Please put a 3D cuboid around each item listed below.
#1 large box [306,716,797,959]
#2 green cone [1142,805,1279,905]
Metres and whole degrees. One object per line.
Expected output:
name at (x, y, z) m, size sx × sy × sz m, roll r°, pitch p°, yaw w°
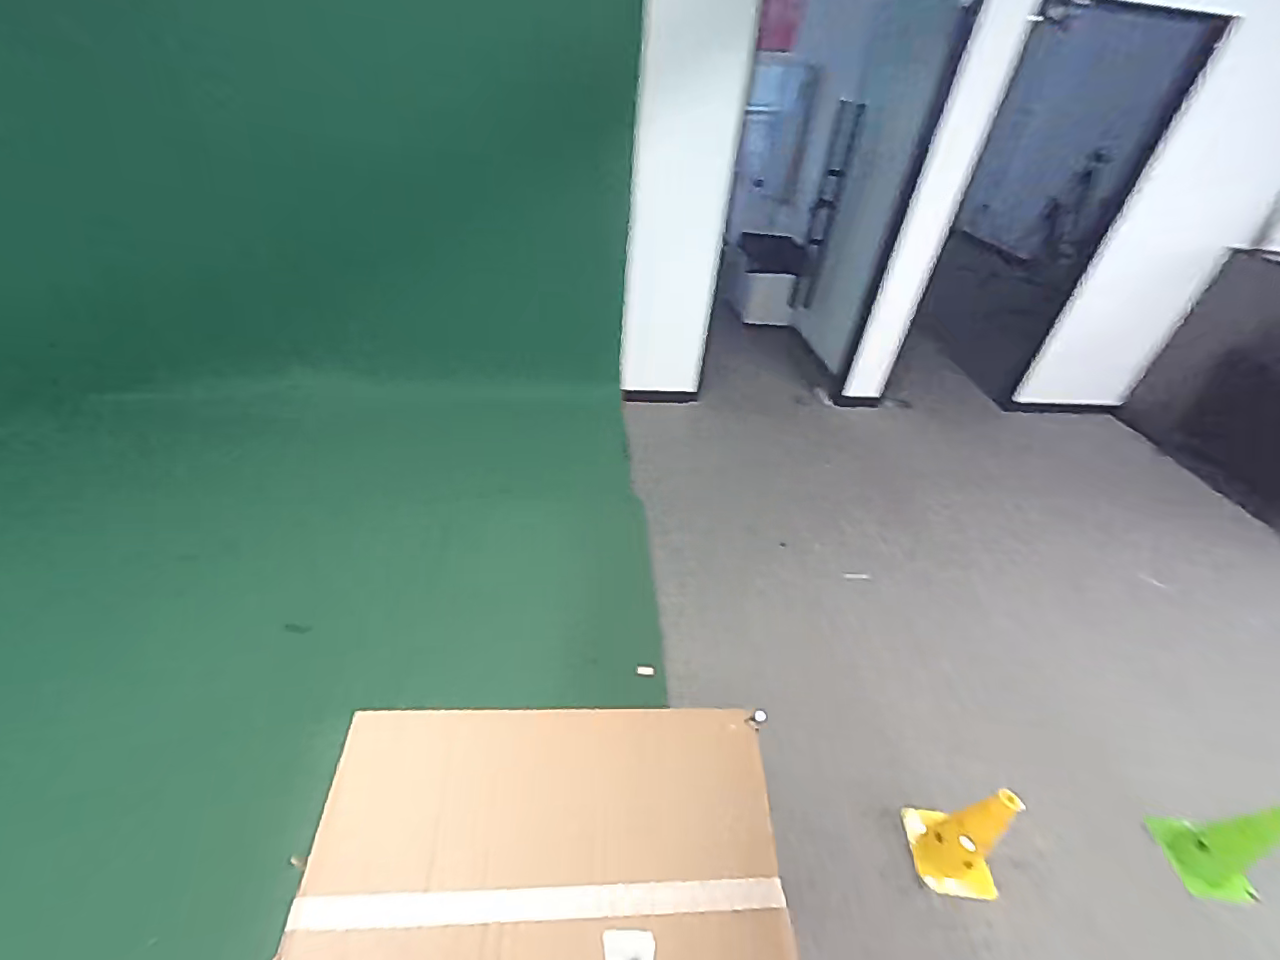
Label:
large box at (-0.082, 0.461, 0.572) m, size 0.408 × 0.320 × 0.320 m, roll 3°, pitch 49°, yaw -5°
green cone at (1.605, 0.957, 1.444) m, size 0.202 × 0.368 × 0.200 m, roll 3°, pitch 37°, yaw -2°
